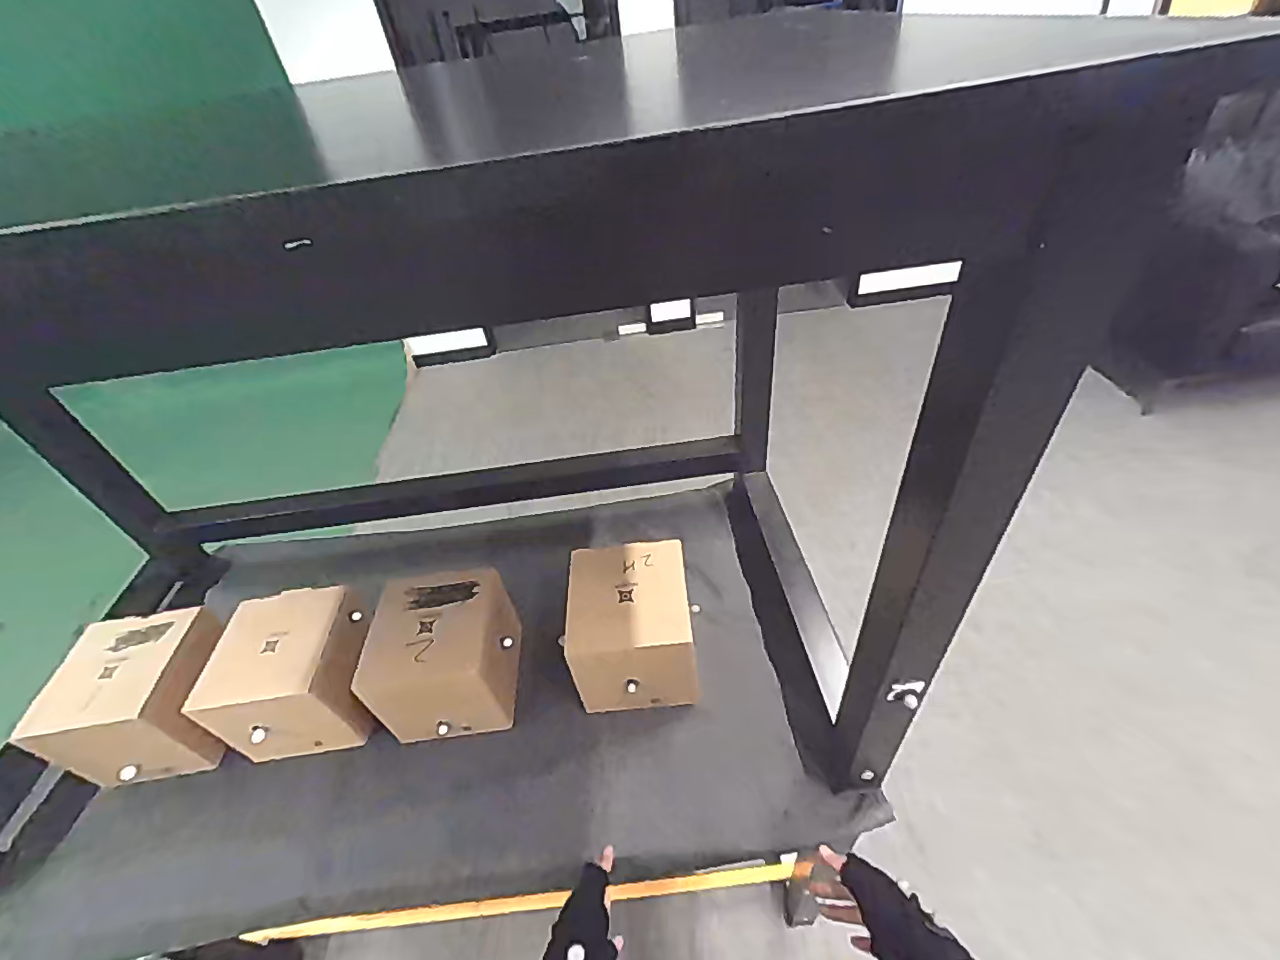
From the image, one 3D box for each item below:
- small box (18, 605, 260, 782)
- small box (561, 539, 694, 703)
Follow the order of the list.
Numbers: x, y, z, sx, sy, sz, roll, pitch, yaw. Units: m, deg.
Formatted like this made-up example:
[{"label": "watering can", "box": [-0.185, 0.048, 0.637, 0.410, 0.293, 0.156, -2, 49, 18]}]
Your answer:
[{"label": "small box", "box": [-0.715, 0.316, 0.804, 0.168, 0.176, 0.179, -10, 42, -1]}, {"label": "small box", "box": [-0.013, 0.212, 0.795, 0.168, 0.176, 0.179, -6, 41, 3]}]
